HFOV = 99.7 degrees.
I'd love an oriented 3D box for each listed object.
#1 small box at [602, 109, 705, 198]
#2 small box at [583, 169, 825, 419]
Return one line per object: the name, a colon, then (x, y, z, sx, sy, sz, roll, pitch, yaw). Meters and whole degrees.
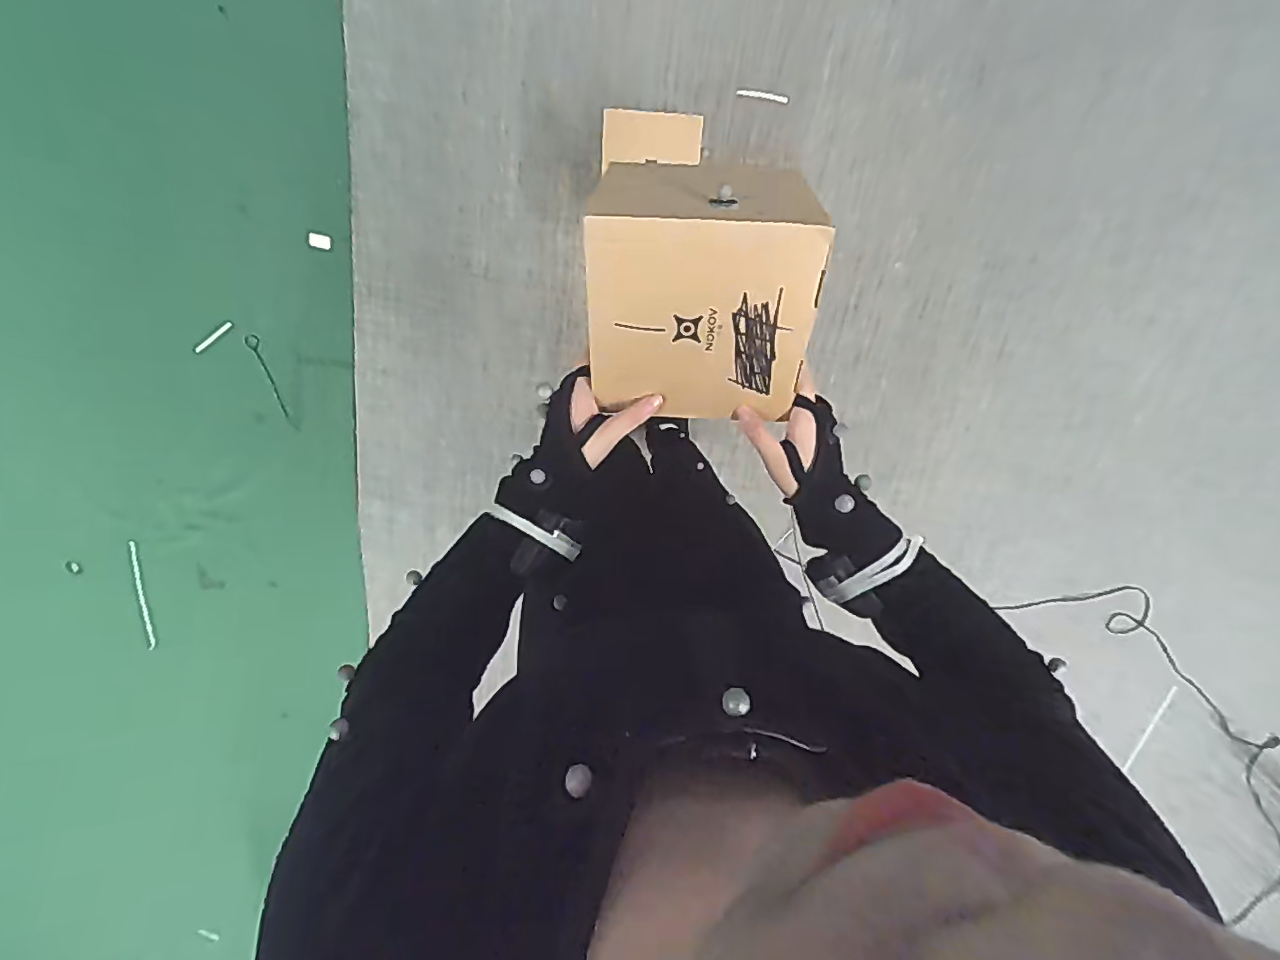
small box: (0.020, -0.549, 0.990, 0.168, 0.176, 0.179, 4, 112, 0)
small box: (0.049, -0.173, 0.494, 0.179, 0.176, 0.168, 4, 131, 3)
